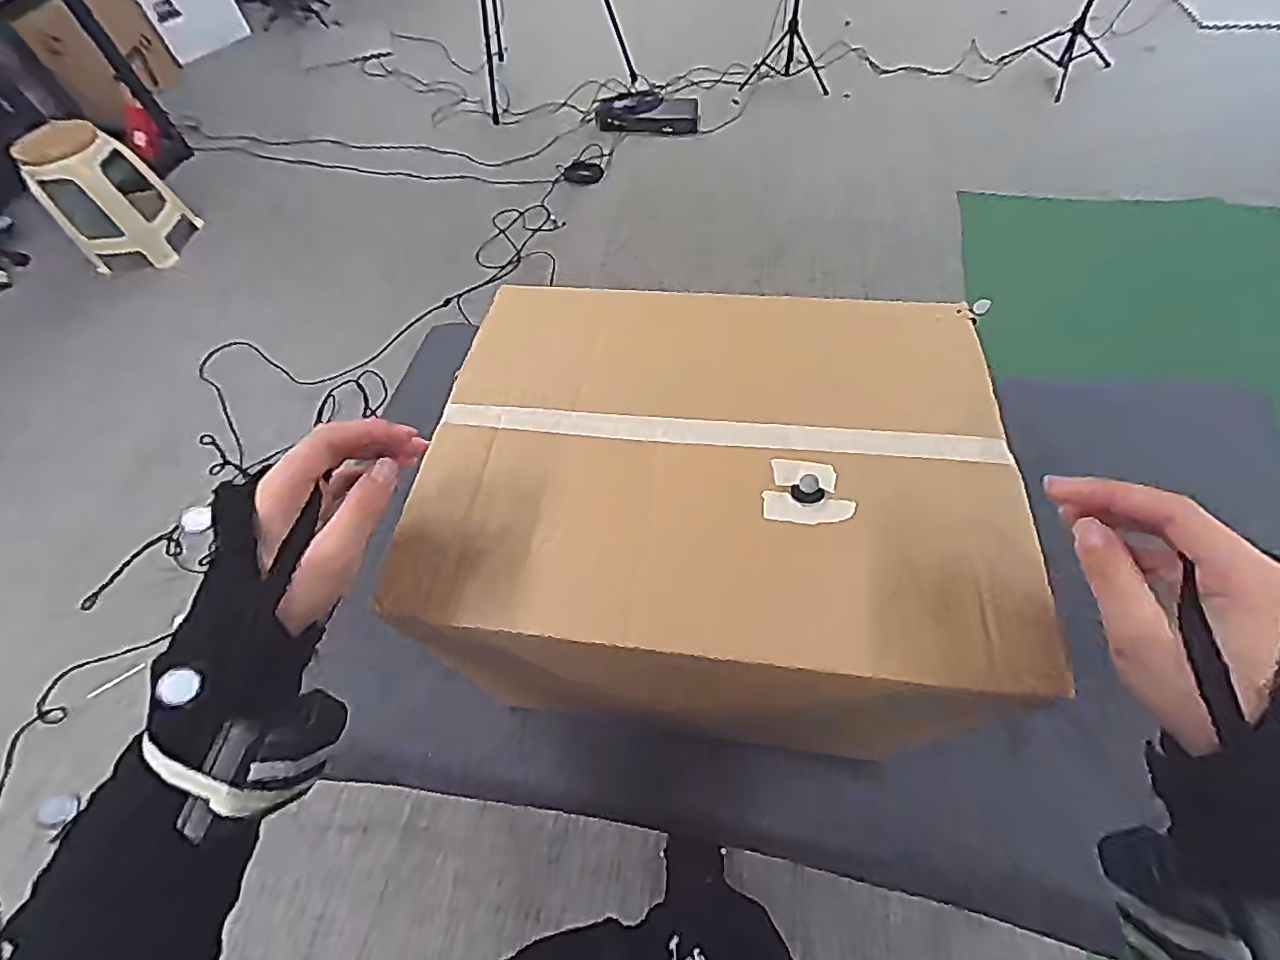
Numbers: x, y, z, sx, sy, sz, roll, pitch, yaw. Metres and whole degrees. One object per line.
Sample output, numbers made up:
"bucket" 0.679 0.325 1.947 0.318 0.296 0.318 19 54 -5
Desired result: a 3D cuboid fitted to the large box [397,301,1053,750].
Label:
"large box" 0.062 0.055 0.529 0.408 0.320 0.320 5 58 6
